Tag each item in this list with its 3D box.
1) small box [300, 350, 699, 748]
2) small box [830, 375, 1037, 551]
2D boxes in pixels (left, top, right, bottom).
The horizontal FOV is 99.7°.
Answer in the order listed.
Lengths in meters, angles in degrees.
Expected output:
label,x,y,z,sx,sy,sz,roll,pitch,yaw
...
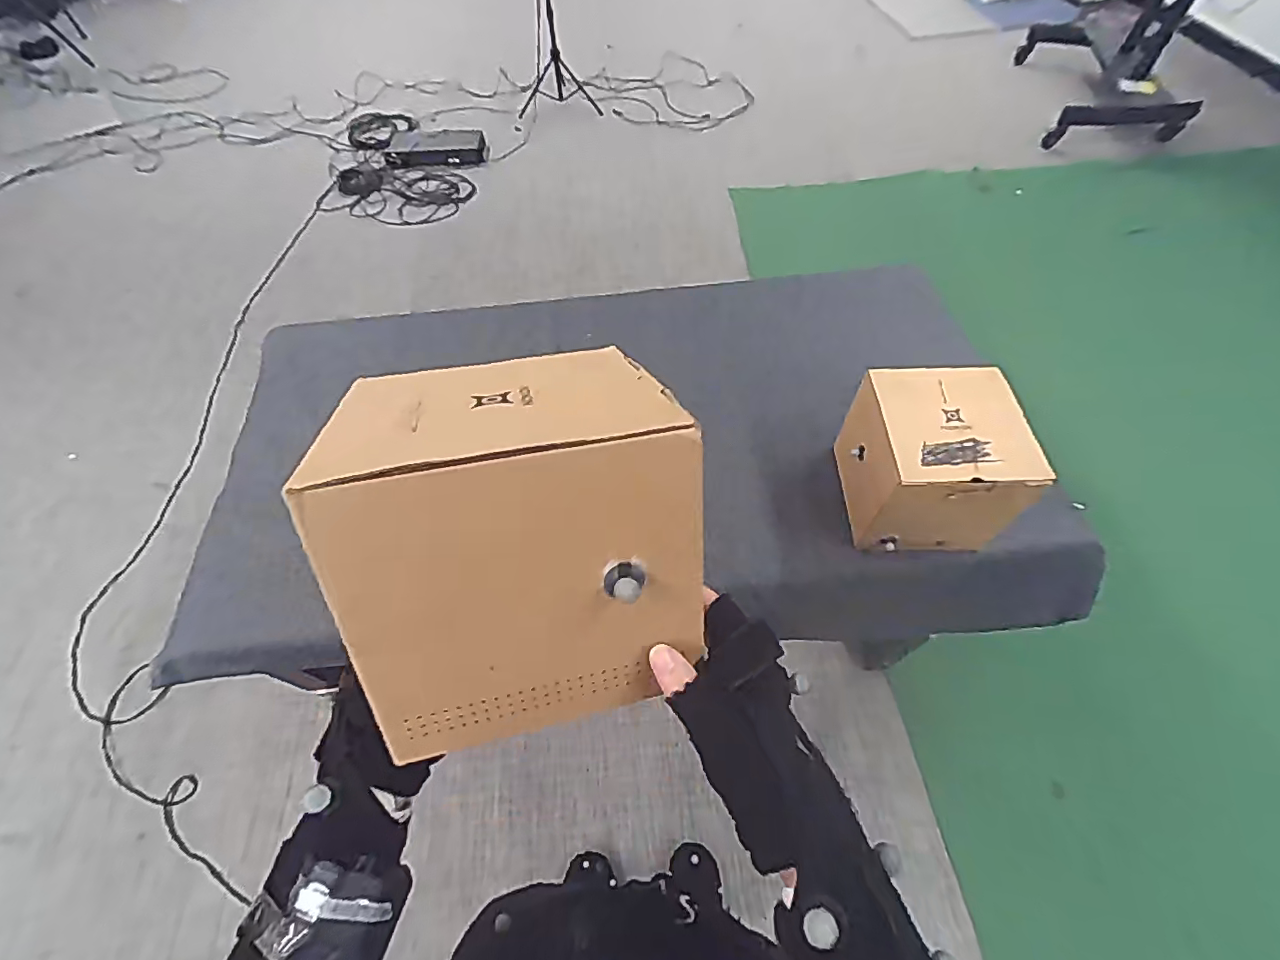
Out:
label,x,y,z,sx,sy,sz,roll,pitch,yaw
small box,-0.072,0.029,0.342,0.179,0.176,0.168,-11,27,-13
small box,0.364,-0.018,0.712,0.168,0.176,0.179,0,56,2
